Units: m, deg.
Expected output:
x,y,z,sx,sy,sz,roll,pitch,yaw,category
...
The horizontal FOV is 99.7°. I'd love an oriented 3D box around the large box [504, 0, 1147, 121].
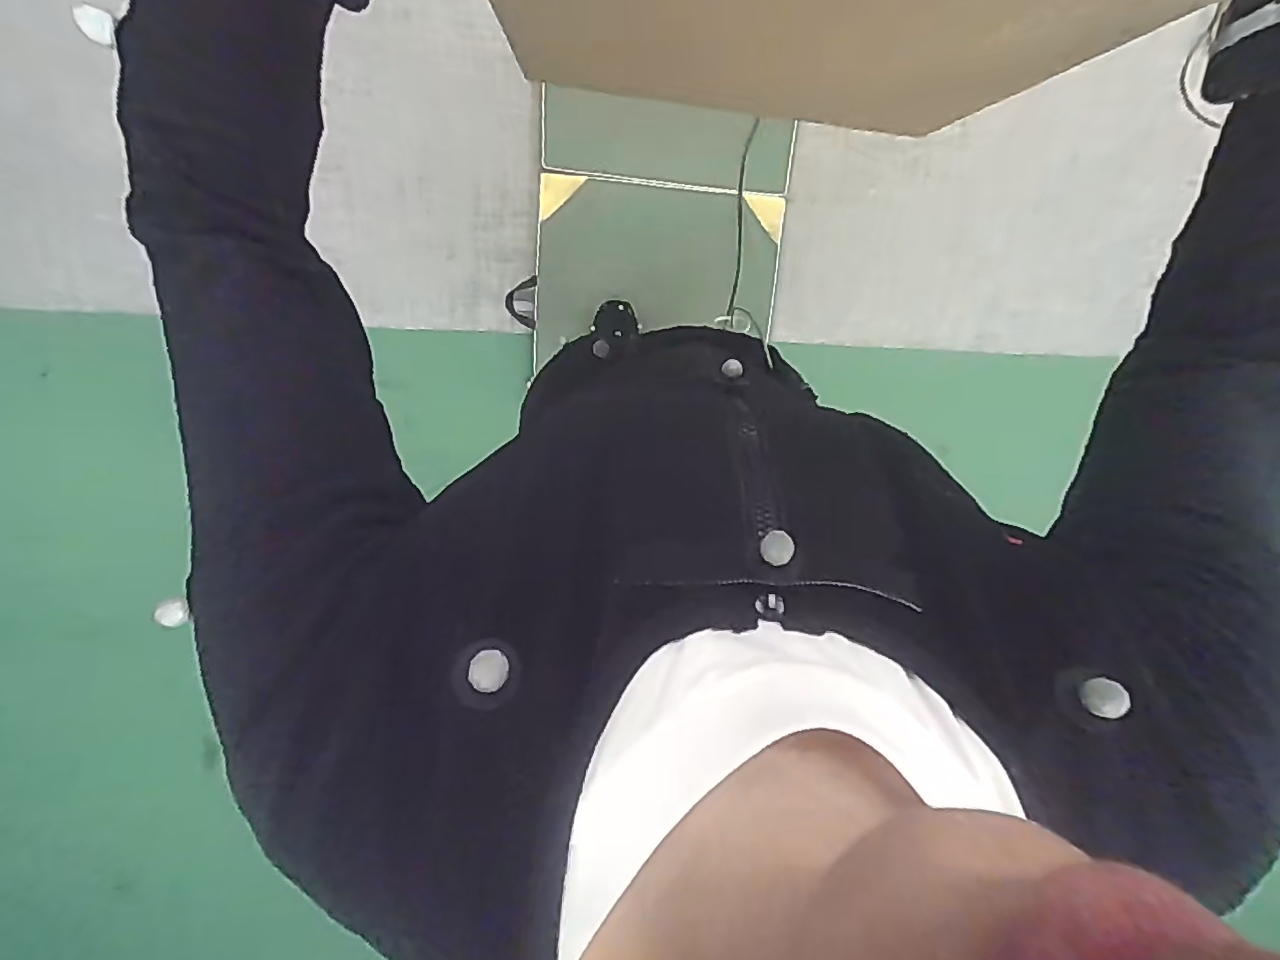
x,y,z,sx,sy,sz,roll,pitch,yaw,category
0.110,-0.464,0.341,0.408,0.320,0.320,4,111,-5,large box
